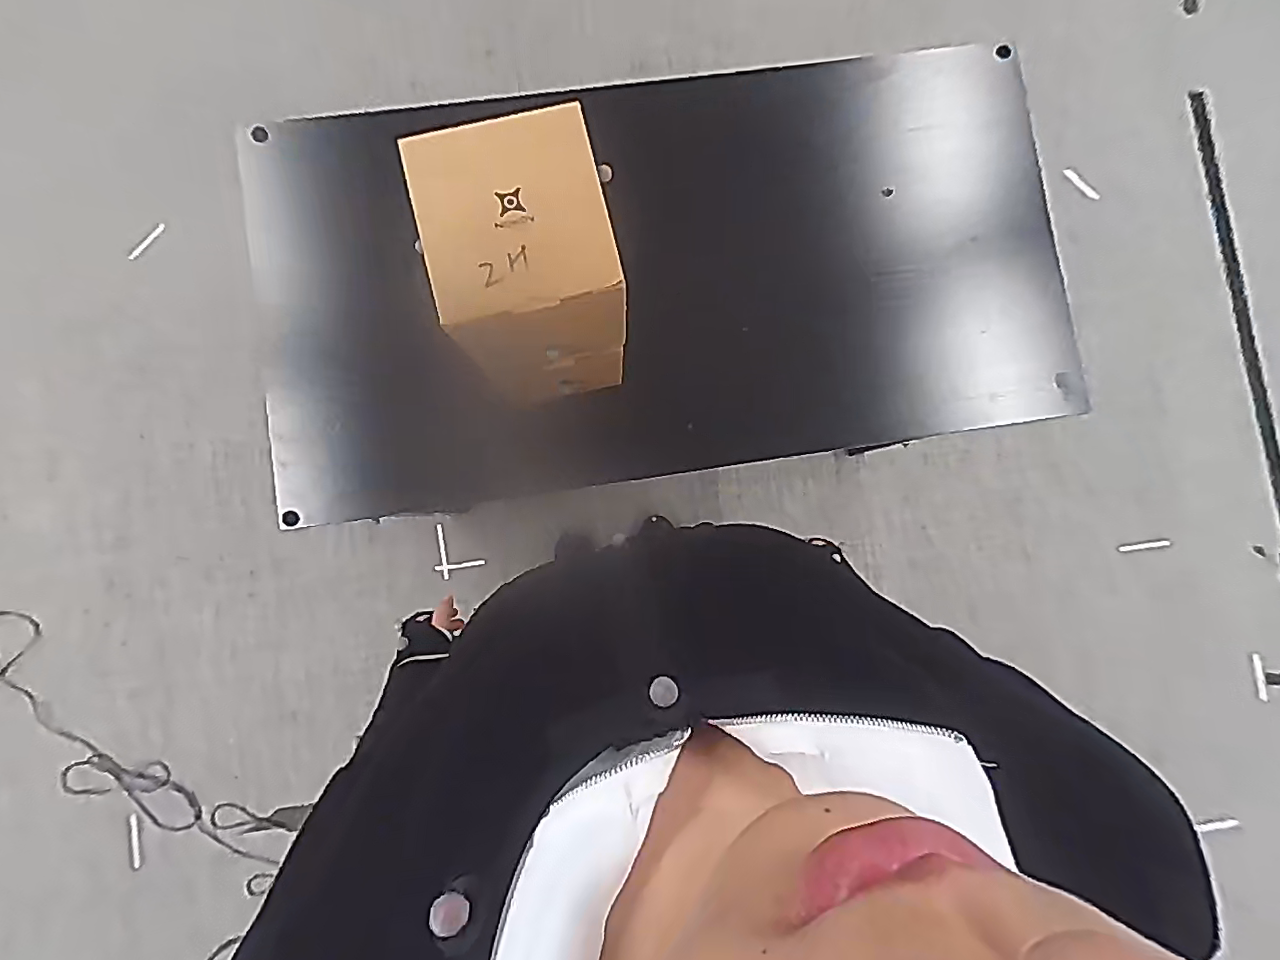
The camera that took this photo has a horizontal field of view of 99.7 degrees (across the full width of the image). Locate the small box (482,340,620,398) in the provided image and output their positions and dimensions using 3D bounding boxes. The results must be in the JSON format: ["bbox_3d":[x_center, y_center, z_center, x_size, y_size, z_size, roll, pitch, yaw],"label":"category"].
[{"bbox_3d":[-0.122,-0.216,0.723,0.168,0.176,0.179,-13,87,-3],"label":"small box"}]

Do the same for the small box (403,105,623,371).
[{"bbox_3d":[-0.117,-0.232,0.558,0.168,0.176,0.179,-14,86,-2],"label":"small box"}]
